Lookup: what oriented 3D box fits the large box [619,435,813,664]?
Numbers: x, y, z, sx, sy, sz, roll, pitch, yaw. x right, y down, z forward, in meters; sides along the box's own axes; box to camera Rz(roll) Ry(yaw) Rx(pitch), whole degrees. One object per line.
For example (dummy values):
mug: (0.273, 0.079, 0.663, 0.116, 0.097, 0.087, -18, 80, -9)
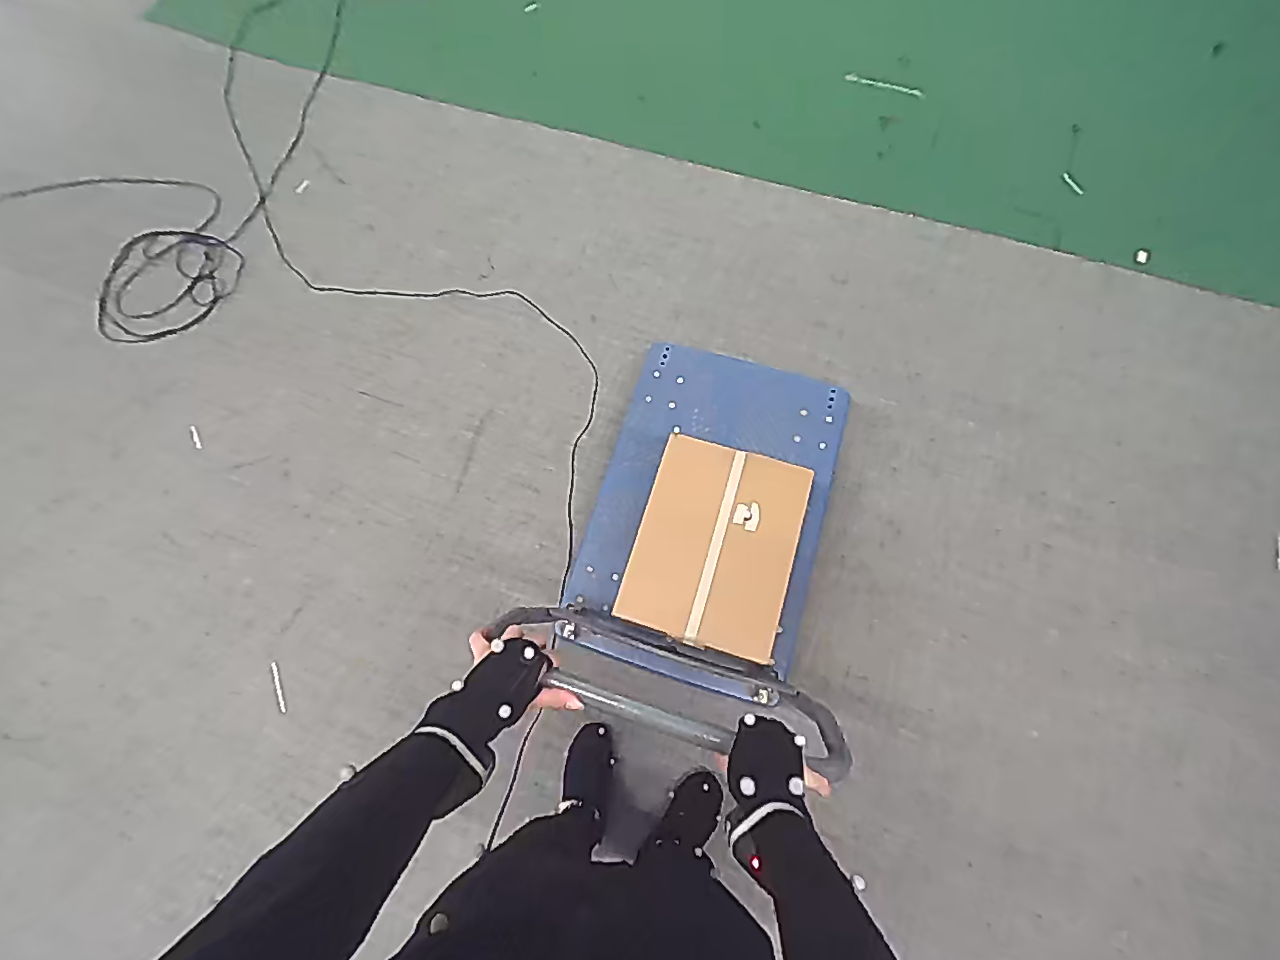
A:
large box: (0.165, 0.171, 1.219, 0.320, 0.320, 0.408, 16, 73, 7)
